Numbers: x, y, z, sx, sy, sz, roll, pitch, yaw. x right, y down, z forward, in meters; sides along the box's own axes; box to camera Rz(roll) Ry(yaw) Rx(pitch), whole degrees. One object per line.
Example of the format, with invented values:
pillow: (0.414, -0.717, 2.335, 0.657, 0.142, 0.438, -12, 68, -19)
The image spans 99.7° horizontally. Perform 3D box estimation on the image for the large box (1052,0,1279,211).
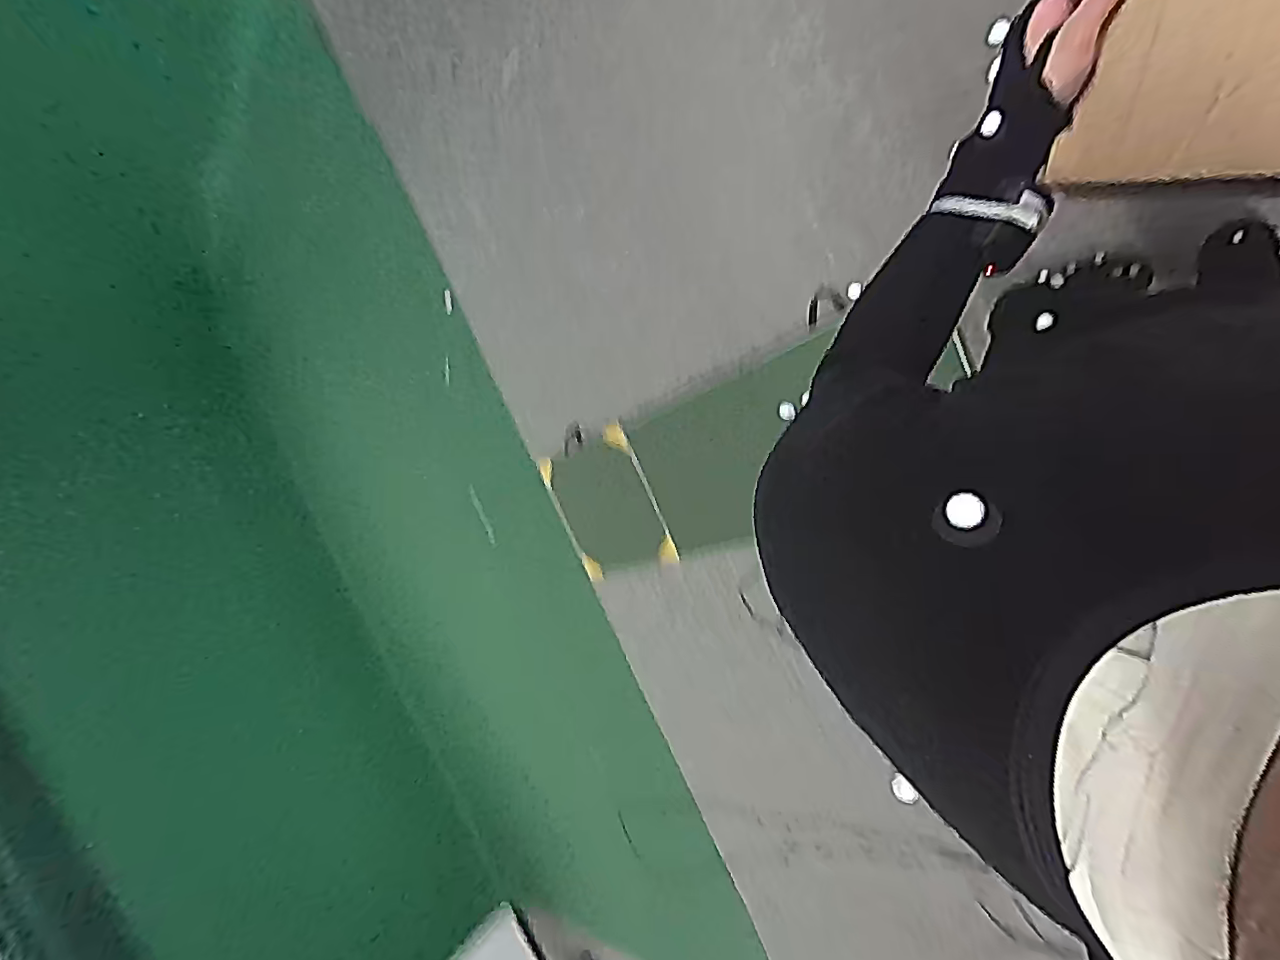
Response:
large box: (0.608, -0.400, 0.422, 0.408, 0.320, 0.320, 16, 119, 34)
